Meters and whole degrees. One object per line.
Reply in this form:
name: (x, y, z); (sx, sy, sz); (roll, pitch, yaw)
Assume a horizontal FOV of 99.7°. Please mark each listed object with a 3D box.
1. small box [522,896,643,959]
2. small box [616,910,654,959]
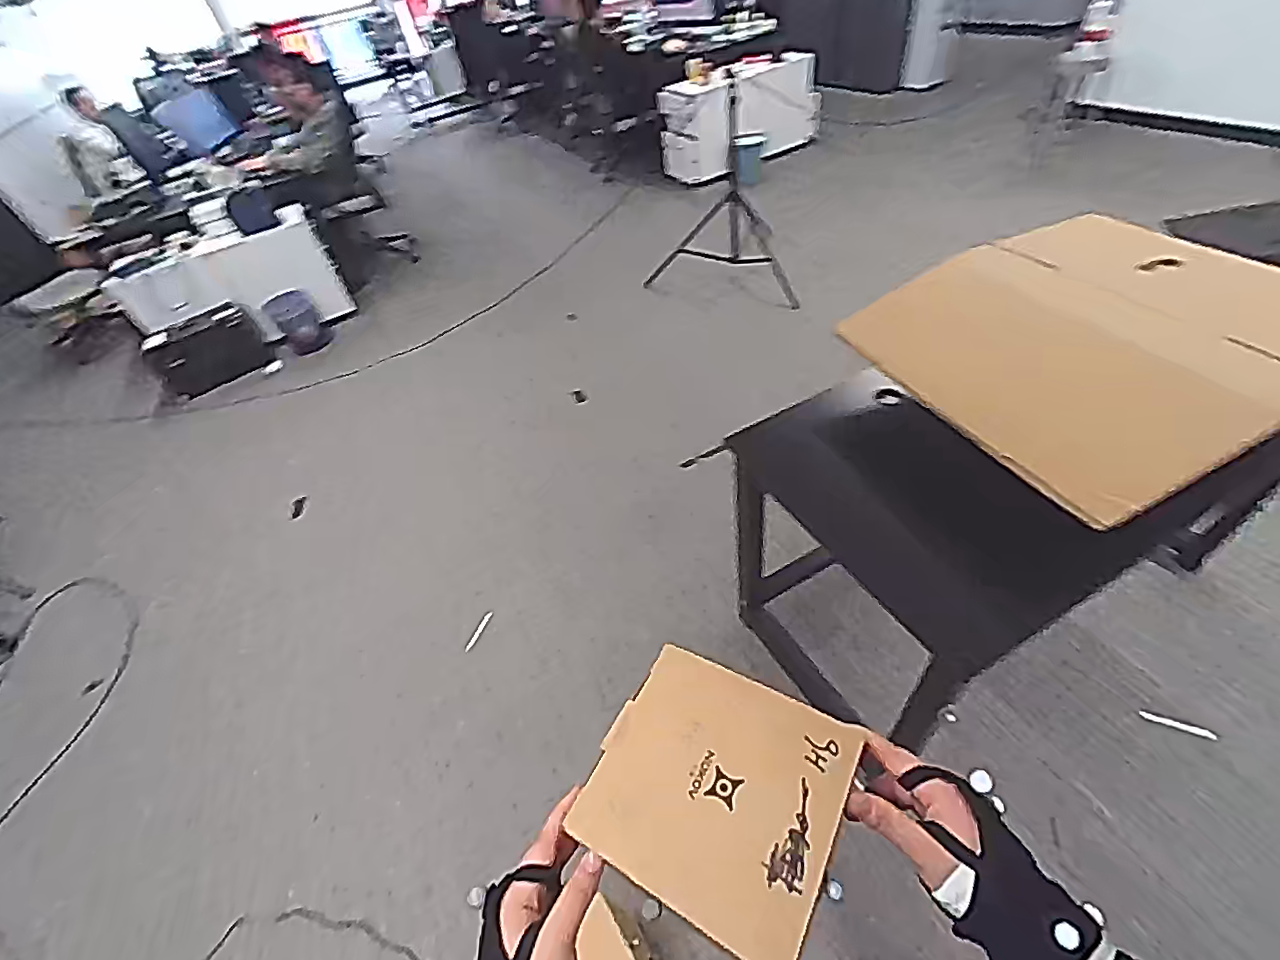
small box: (-0.081, 0.883, 0.947); (0.168, 0.176, 0.179); (-32, 47, -19)
small box: (-0.051, 0.997, 1.059); (0.168, 0.176, 0.179); (-30, 49, -16)
